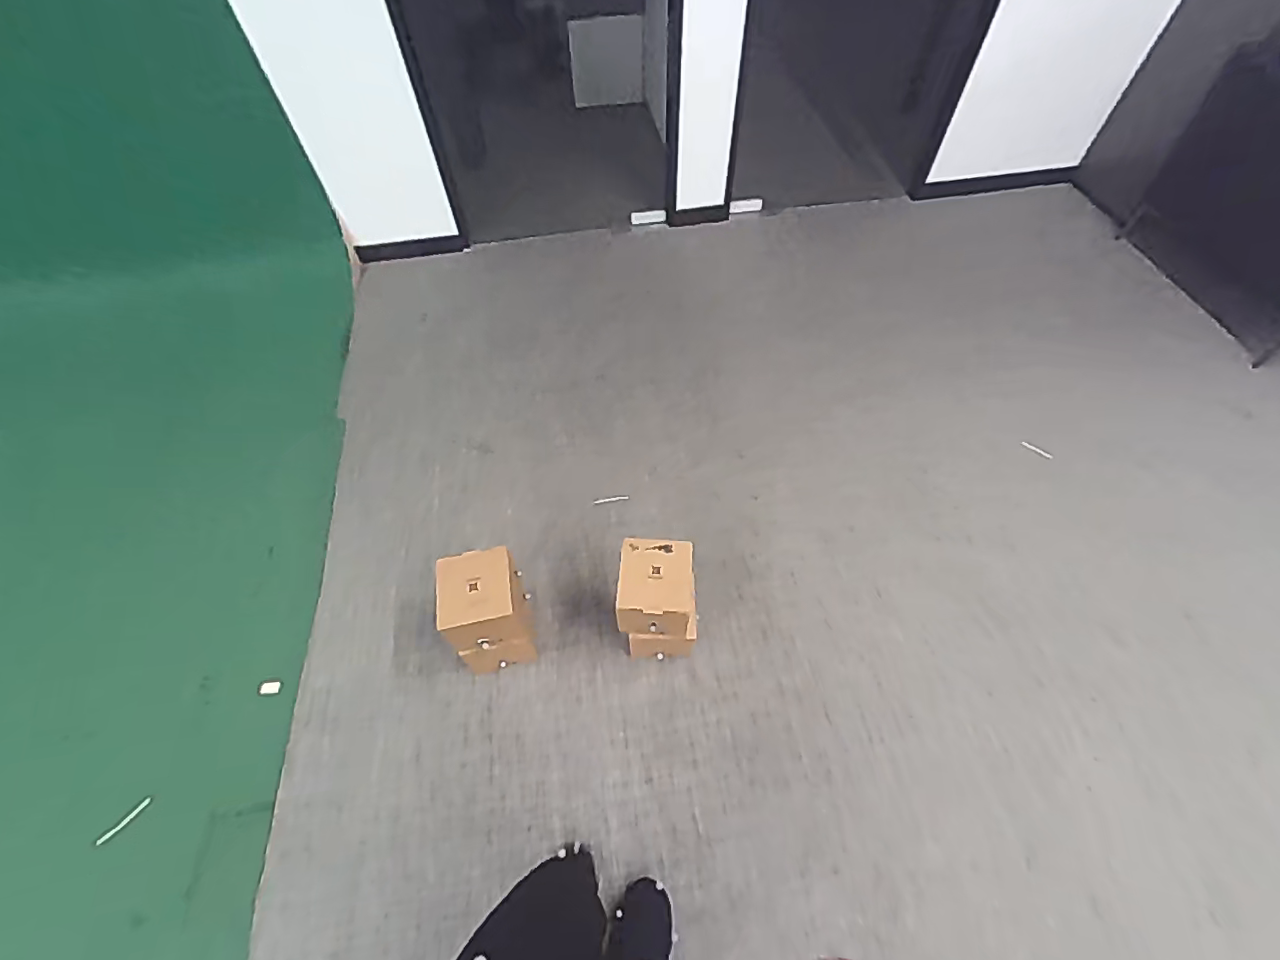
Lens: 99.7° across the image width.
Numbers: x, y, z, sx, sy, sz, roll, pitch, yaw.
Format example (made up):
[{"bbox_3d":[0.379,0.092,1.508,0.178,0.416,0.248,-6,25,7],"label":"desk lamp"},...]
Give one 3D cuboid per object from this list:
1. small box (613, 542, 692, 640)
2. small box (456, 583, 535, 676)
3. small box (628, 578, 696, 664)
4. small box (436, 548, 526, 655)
[{"bbox_3d":[0.033,0.265,1.274,0.168,0.176,0.179,4,56,3],"label":"small box"},{"bbox_3d":[-0.373,0.383,1.396,0.168,0.176,0.179,-11,56,-7],"label":"small box"},{"bbox_3d":[0.055,0.365,1.403,0.168,0.176,0.179,0,56,1],"label":"small box"},{"bbox_3d":[-0.370,0.287,1.266,0.168,0.176,0.179,-11,56,-6],"label":"small box"}]
